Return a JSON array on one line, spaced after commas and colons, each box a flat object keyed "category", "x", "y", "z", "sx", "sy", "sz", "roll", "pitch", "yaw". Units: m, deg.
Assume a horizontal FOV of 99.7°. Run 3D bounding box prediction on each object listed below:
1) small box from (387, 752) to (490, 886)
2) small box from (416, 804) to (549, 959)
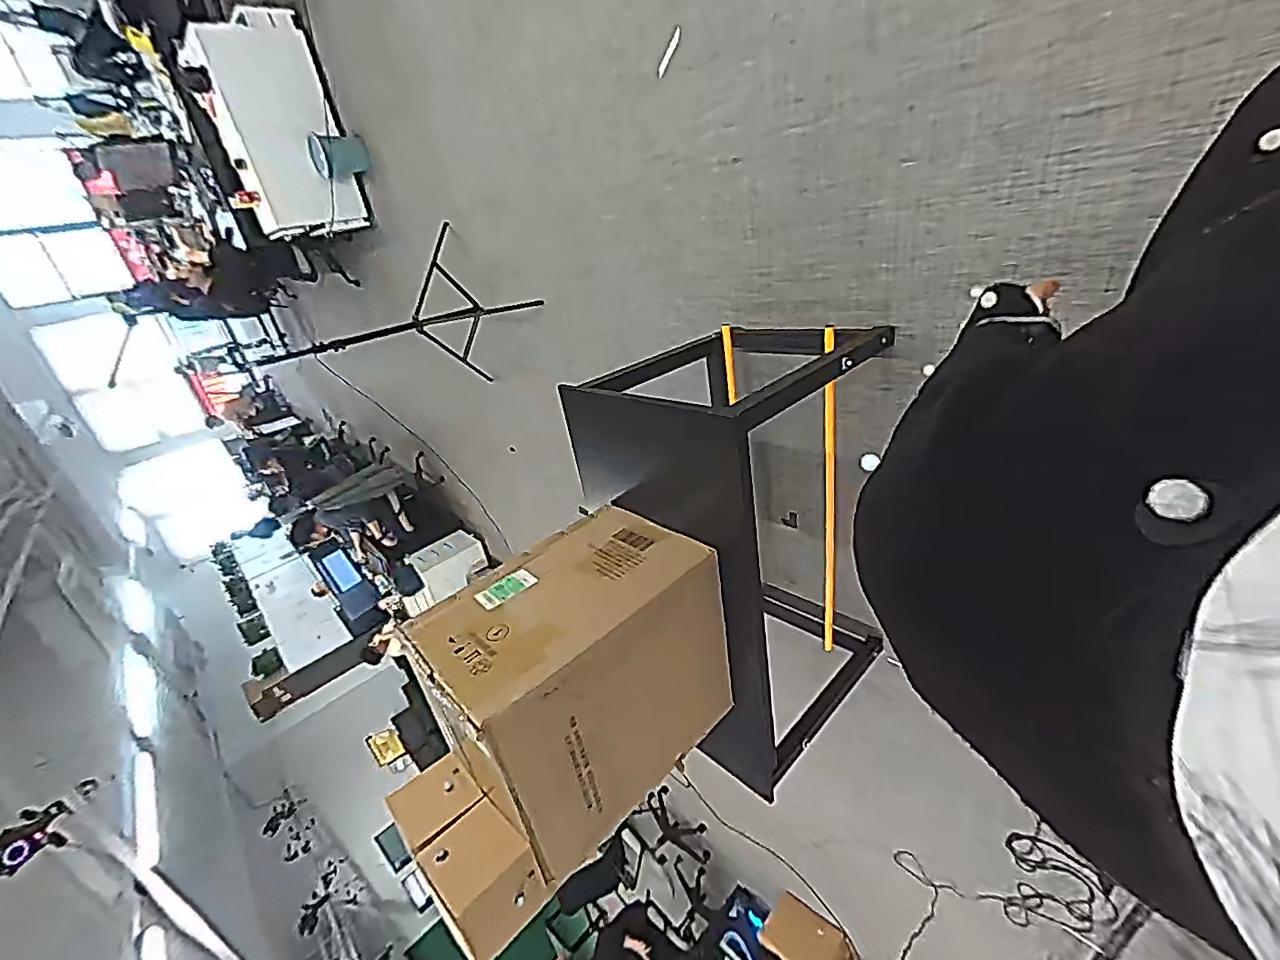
[{"category": "small box", "x": -0.431, "y": 0.762, "z": 1.210, "sx": 0.168, "sy": 0.176, "sz": 0.179, "roll": 20, "pitch": 128, "yaw": 46}, {"category": "small box", "x": -0.310, "y": 0.793, "z": 1.078, "sx": 0.179, "sy": 0.176, "sz": 0.168, "roll": 12, "pitch": 121, "yaw": 44}]
